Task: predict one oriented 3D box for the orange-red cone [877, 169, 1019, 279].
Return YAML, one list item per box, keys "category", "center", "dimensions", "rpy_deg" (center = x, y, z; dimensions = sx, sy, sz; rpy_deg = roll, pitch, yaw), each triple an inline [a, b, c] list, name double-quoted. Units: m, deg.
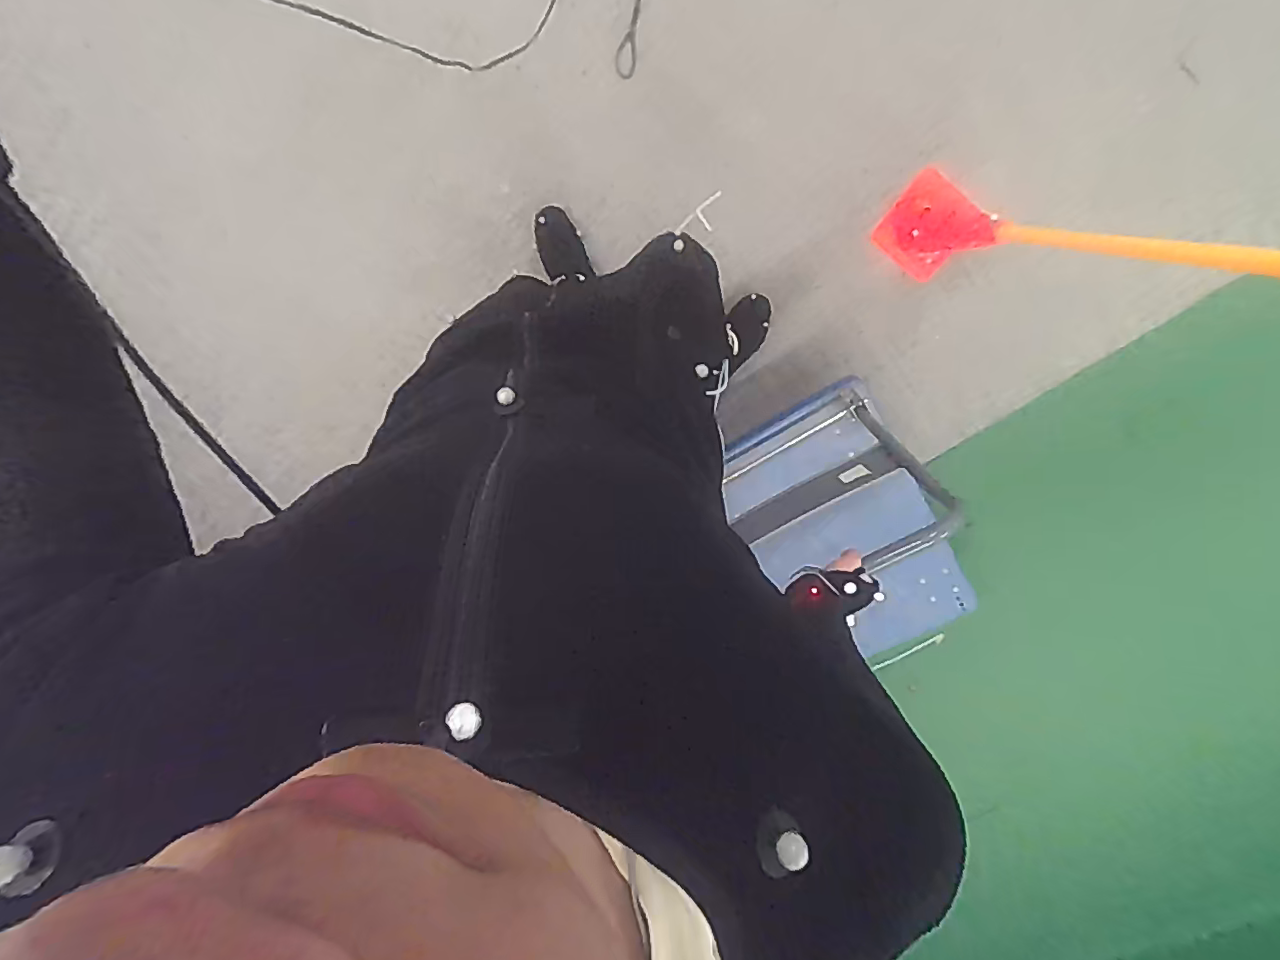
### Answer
- category: "orange-red cone"
  center: [0.712, -0.555, 1.189]
  dimensions: [0.198, 0.360, 0.199]
  rpy_deg: [34, 112, -14]
